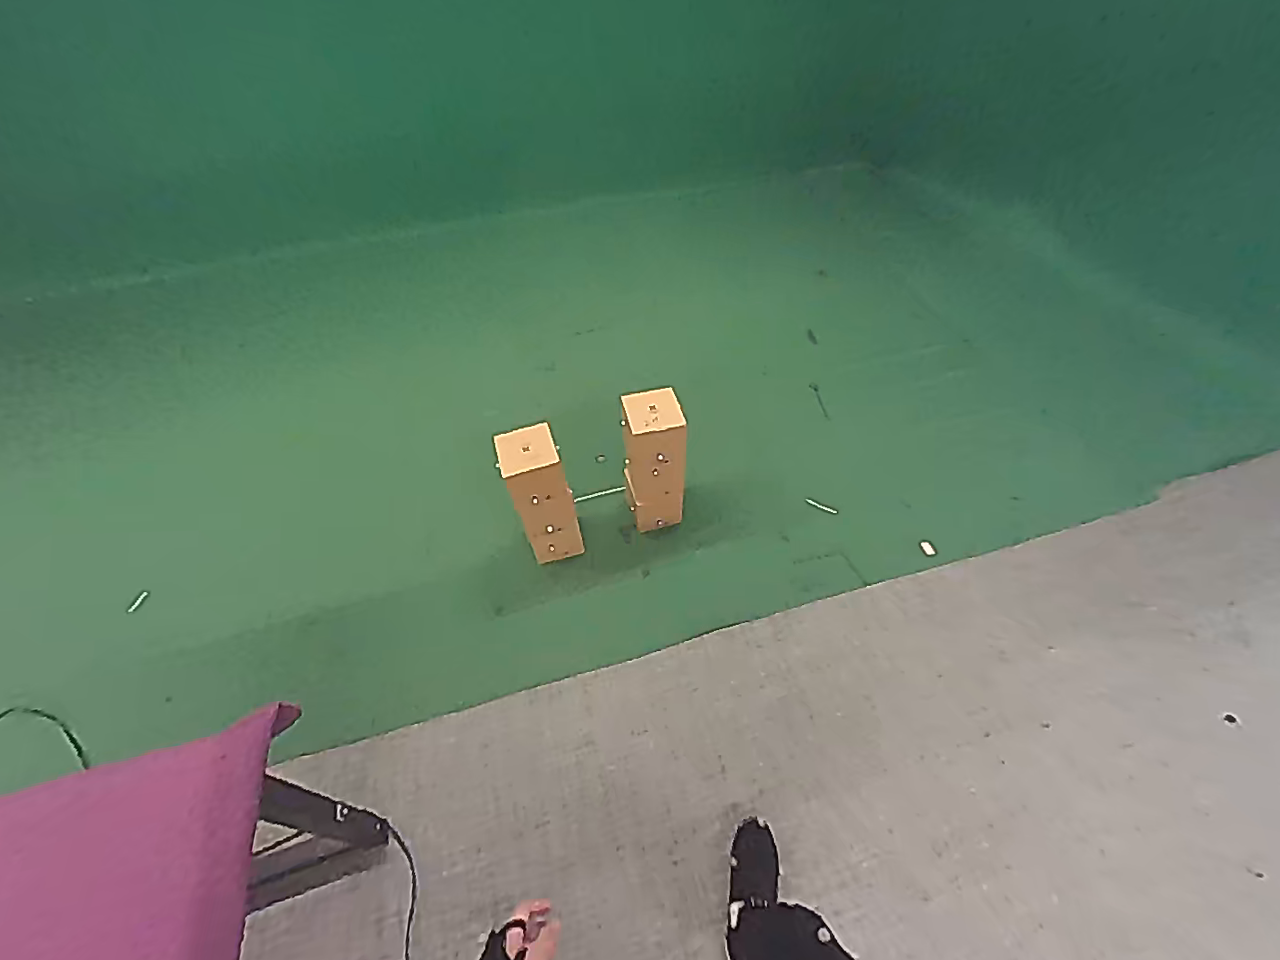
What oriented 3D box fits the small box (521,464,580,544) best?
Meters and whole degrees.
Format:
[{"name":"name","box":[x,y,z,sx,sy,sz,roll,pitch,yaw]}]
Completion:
[{"name":"small box","box":[-0.300,0.078,1.742,0.168,0.176,0.179,-16,51,-9]}]

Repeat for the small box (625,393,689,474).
[{"name":"small box","box":[0.050,-0.144,1.692,0.168,0.176,0.179,-11,51,-6]}]

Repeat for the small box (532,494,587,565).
[{"name":"small box","box":[-0.286,0.176,1.873,0.168,0.176,0.179,-14,50,-8]}]

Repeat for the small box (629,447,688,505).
[{"name":"small box","box":[0.058,-0.042,1.821,0.168,0.176,0.179,-11,50,-6]}]

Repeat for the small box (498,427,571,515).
[{"name":"small box","box":[-0.314,-0.025,1.616,0.168,0.176,0.179,-16,50,-9]}]
